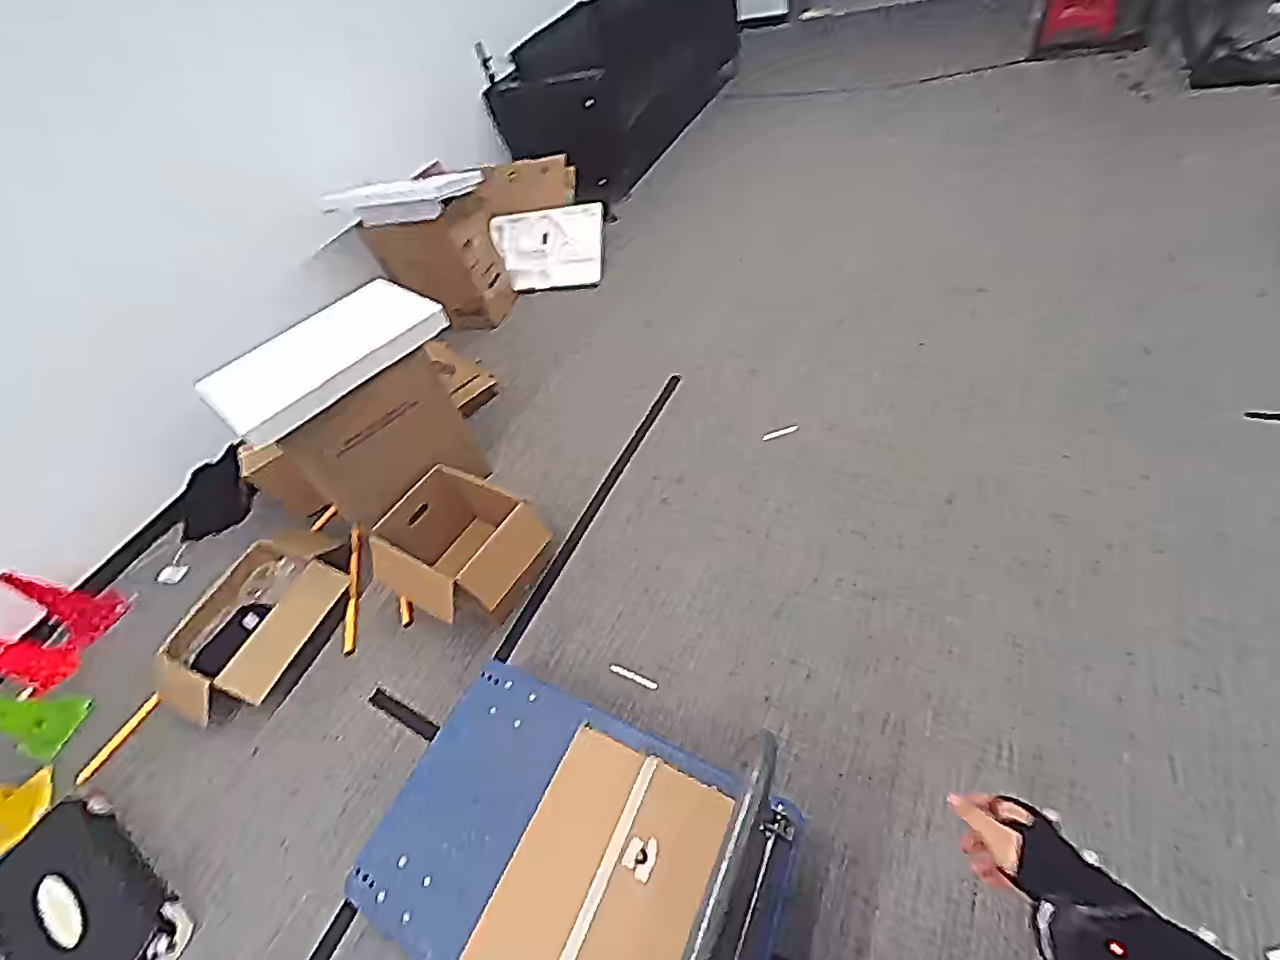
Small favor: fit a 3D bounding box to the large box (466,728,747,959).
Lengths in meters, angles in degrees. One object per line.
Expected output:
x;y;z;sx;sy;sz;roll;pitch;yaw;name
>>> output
-0.028;0.740;0.963;0.320;0.320;0.408;14;55;26;large box
